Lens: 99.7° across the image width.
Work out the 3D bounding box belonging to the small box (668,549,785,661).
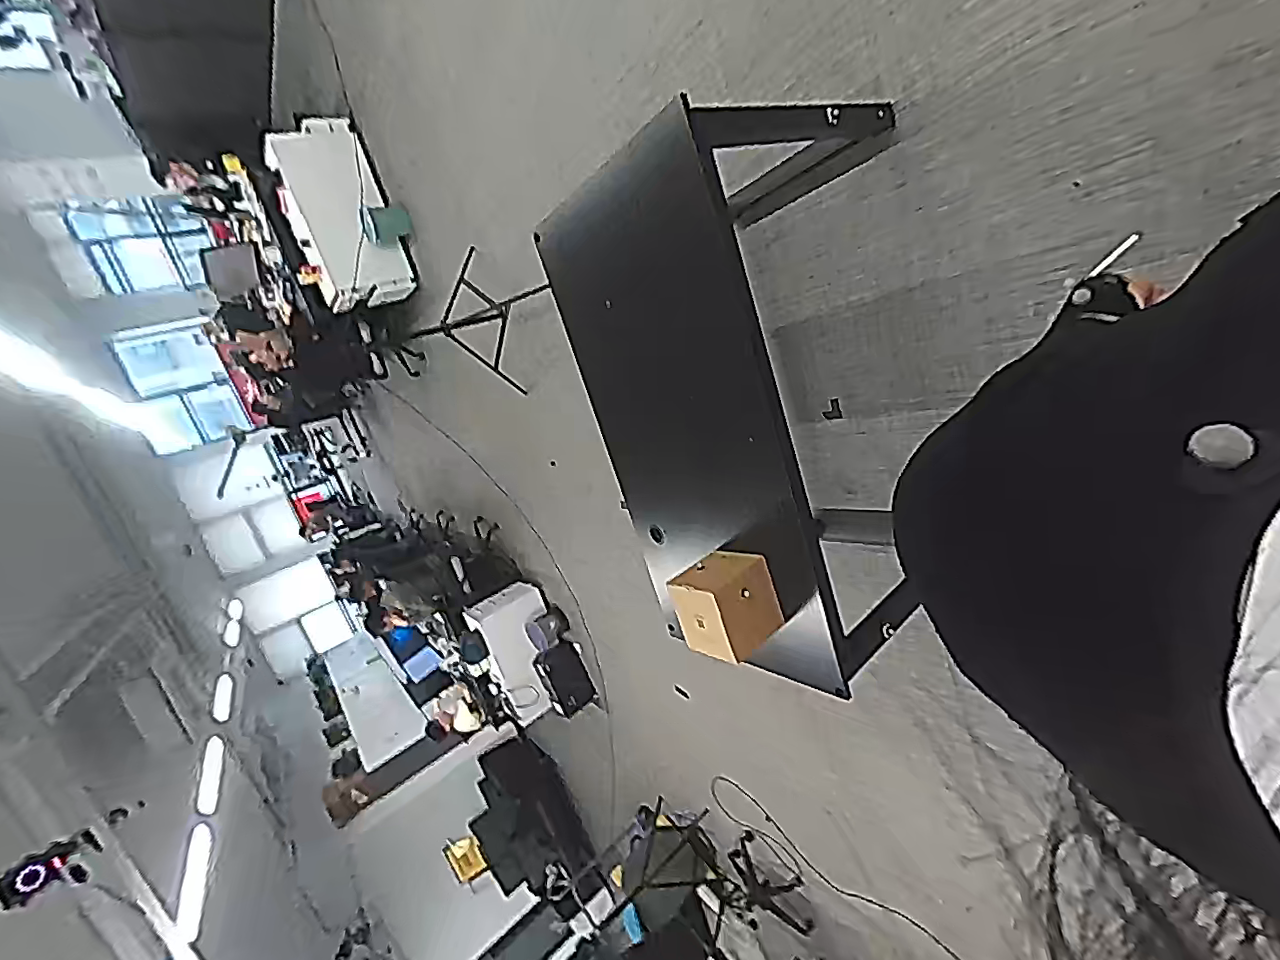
[{"bbox_3d":[0.197,0.272,1.225,0.168,0.176,0.179,-4,110,57],"label":"small box"}]
